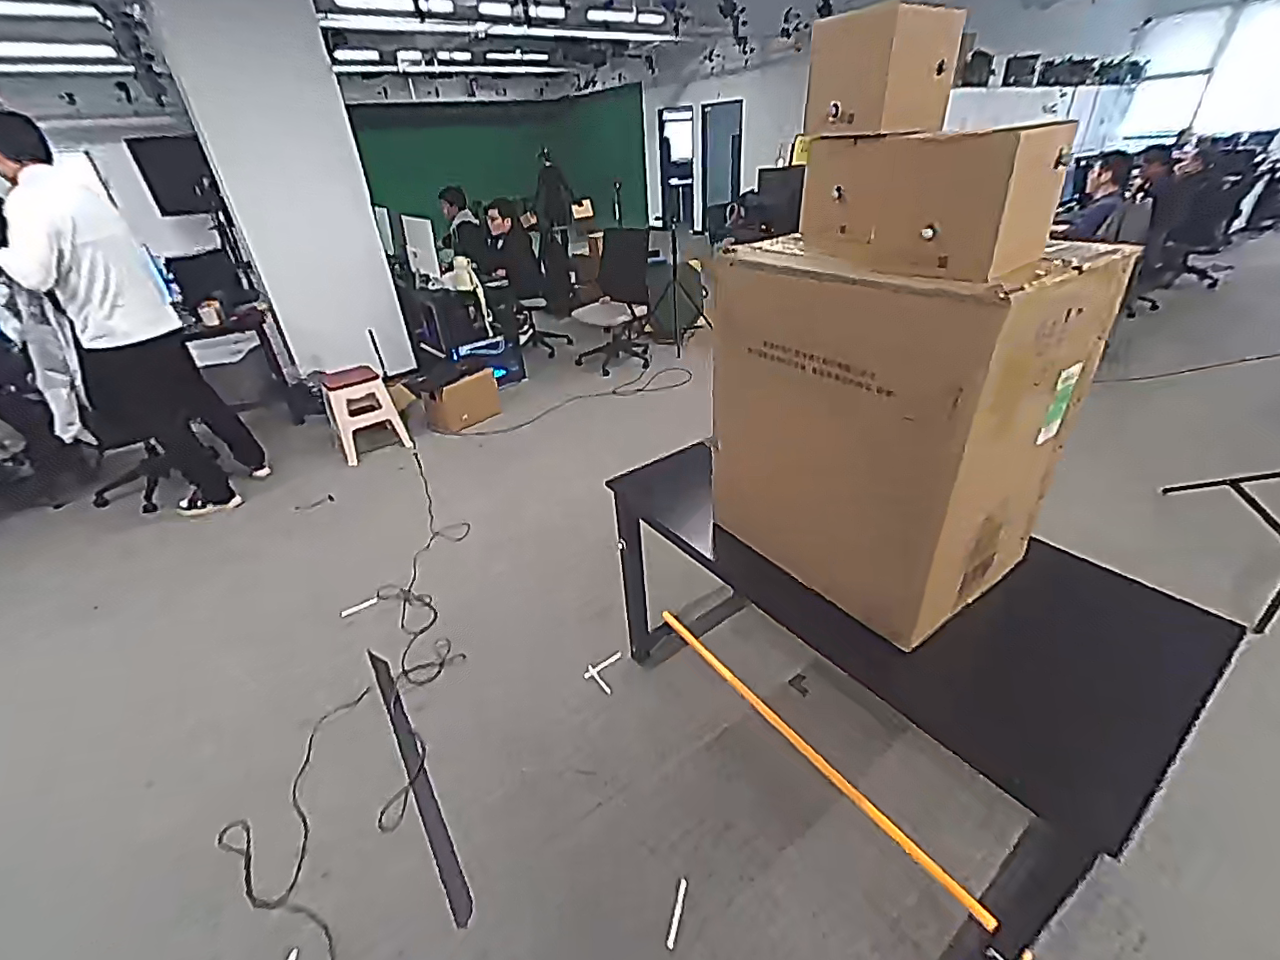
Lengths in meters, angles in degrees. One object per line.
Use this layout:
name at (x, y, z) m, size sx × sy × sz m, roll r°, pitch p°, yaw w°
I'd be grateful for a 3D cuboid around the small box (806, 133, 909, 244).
small box at (0.430, -0.548, 1.014) m, size 0.179 × 0.176 × 0.168 m, roll -23°, pitch 37°, yaw -28°

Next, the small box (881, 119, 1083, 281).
small box at (0.452, -0.381, 0.737) m, size 0.179 × 0.176 × 0.168 m, roll -26°, pitch 36°, yaw -30°

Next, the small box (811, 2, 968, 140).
small box at (0.410, -0.680, 0.919) m, size 0.179 × 0.176 × 0.168 m, roll -22°, pitch 35°, yaw -27°
